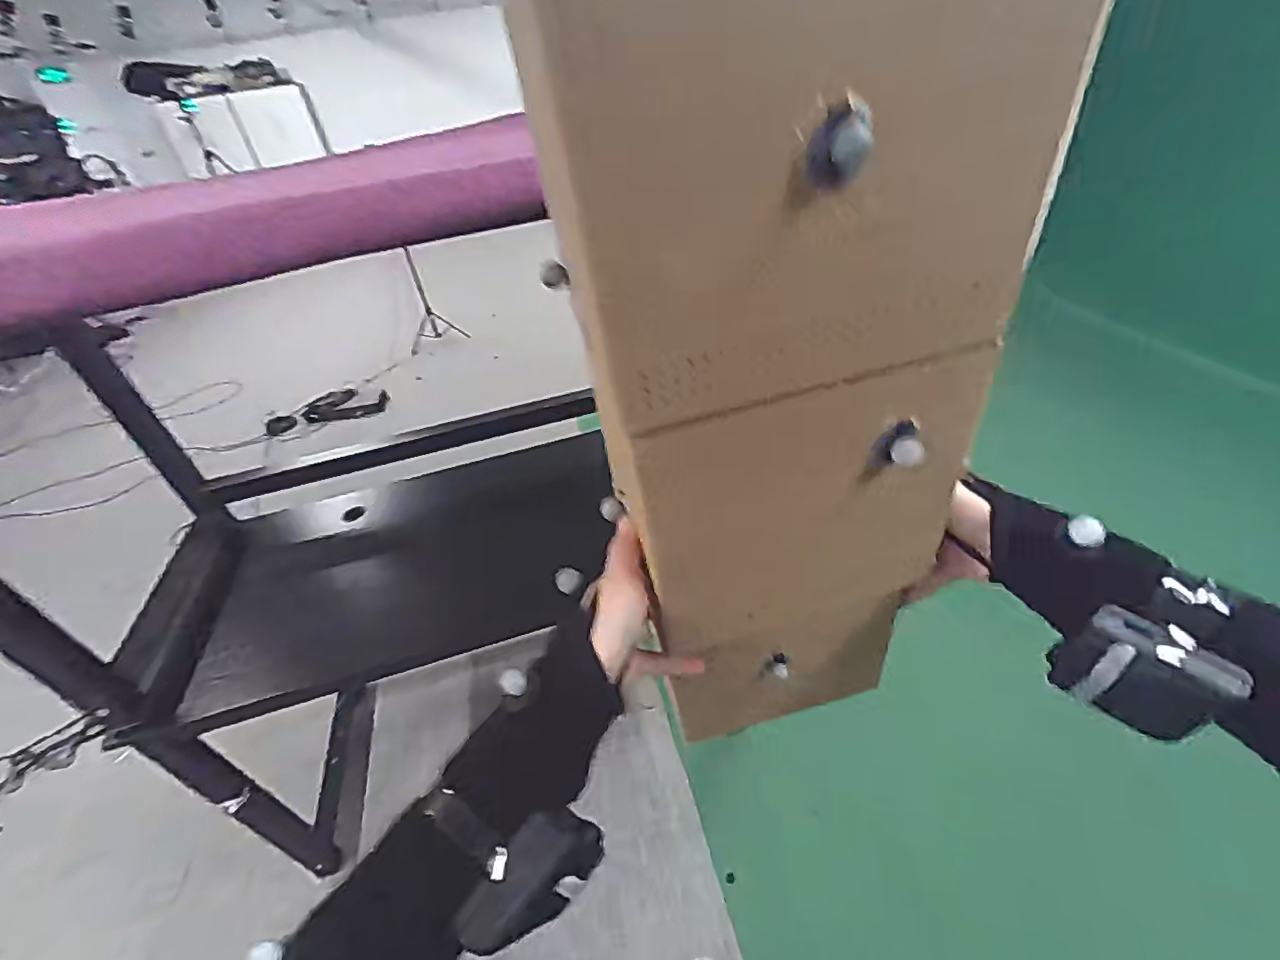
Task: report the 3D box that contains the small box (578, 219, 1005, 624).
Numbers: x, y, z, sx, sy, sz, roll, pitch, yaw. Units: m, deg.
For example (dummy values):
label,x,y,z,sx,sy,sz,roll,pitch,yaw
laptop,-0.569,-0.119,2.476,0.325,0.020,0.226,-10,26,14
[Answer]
label,x,y,z,sx,sy,sz,roll,pitch,yaw
small box,0.071,-0.039,0.339,0.179,0.176,0.168,-15,40,-5
